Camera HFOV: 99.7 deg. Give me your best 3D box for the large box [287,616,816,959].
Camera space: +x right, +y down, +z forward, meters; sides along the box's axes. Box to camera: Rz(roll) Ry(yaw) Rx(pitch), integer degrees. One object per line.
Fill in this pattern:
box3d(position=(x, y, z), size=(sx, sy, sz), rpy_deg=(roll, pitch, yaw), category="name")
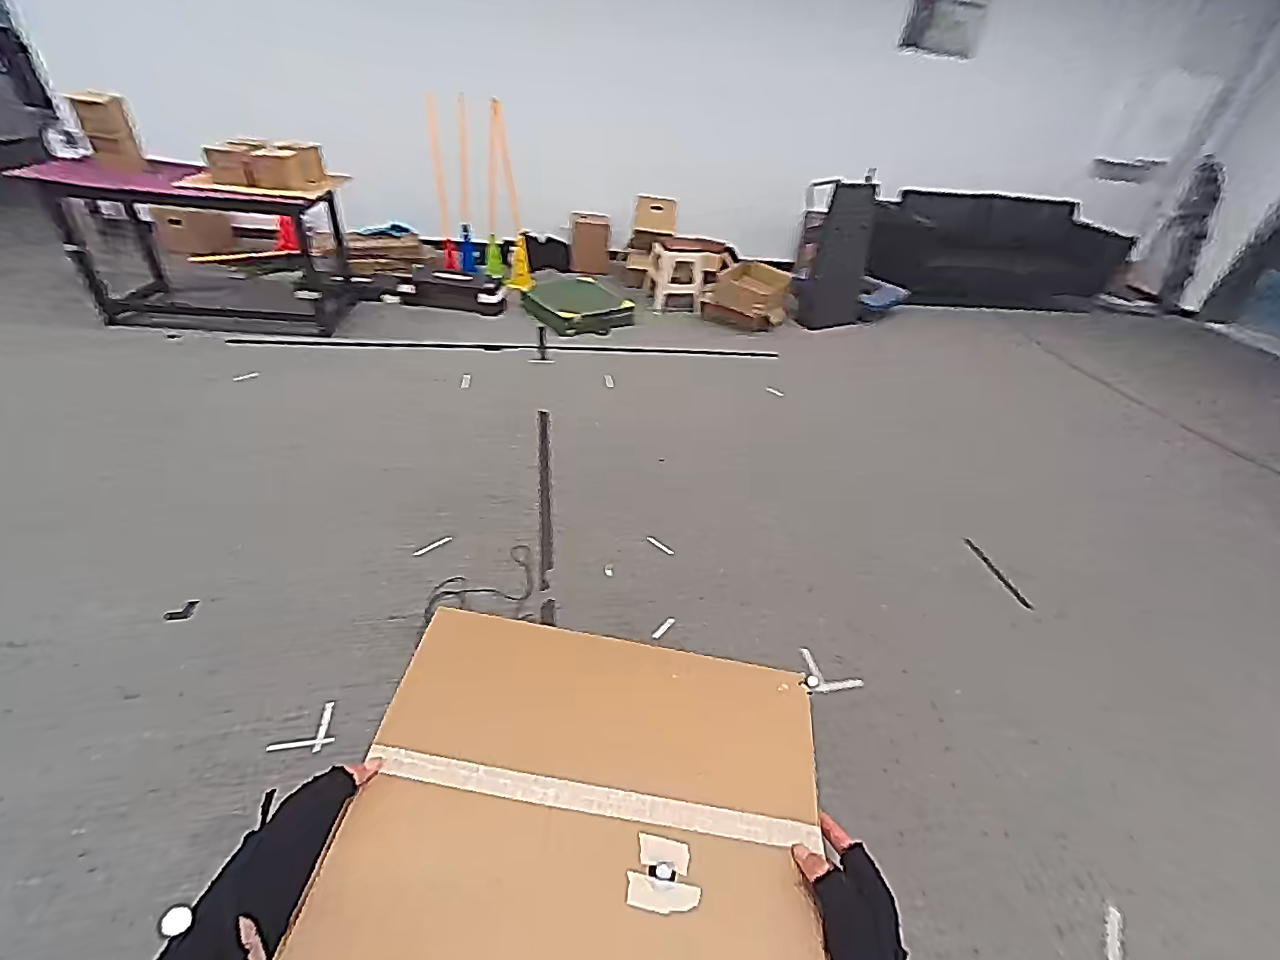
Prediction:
box3d(position=(-0.066, 0.390, 0.591), size=(0.408, 0.320, 0.320), rpy_deg=(10, 45, 0), category="large box")
